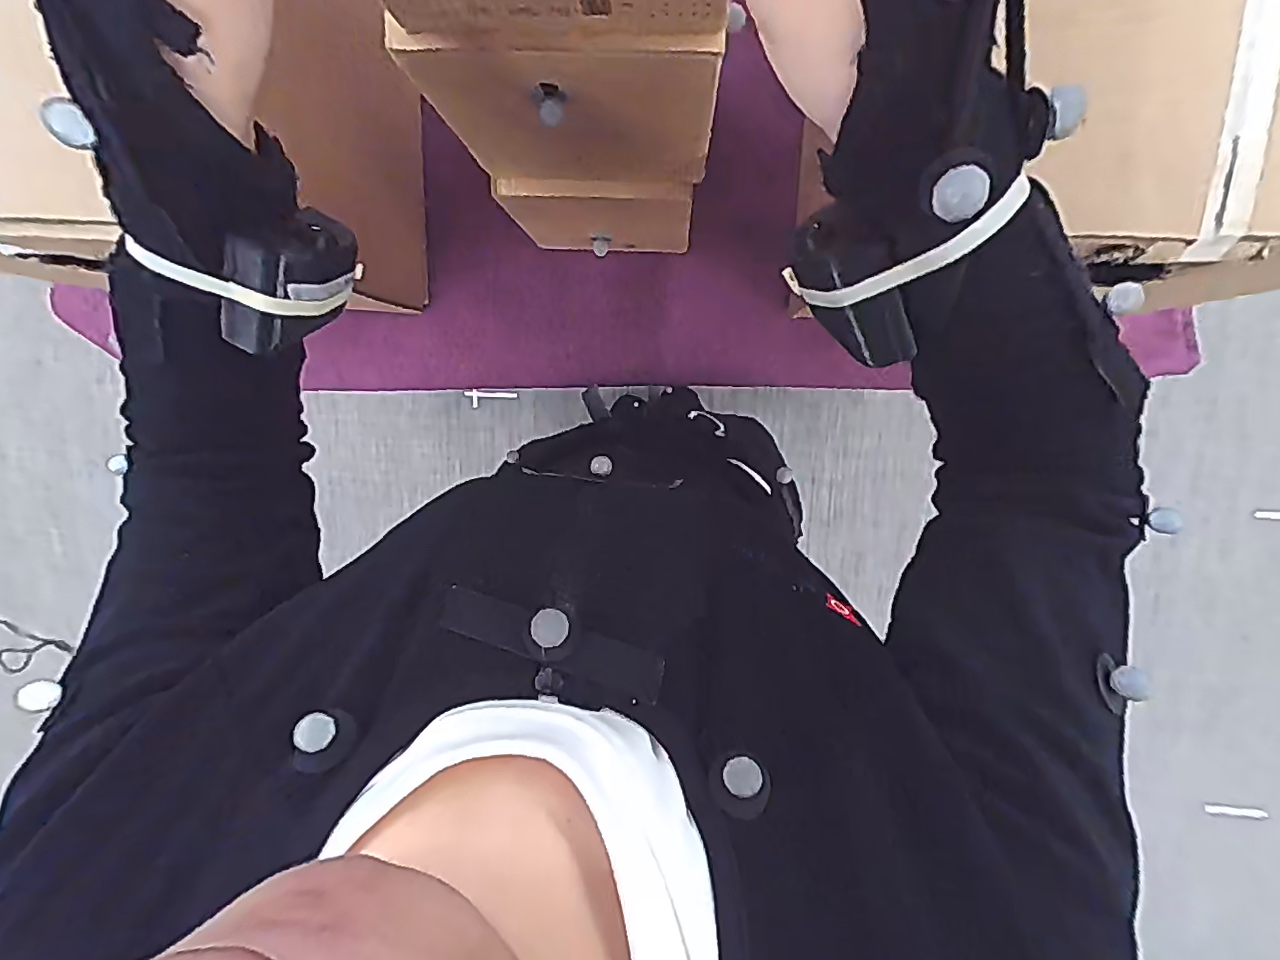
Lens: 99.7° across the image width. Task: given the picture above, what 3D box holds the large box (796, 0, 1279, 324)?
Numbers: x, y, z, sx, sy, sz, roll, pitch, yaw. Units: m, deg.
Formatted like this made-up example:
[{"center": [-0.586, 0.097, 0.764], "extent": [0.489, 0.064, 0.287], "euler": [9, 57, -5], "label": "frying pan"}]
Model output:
[{"center": [0.310, -0.343, 0.410], "extent": [0.320, 0.320, 0.408], "euler": [2, 98, 3], "label": "large box"}]
